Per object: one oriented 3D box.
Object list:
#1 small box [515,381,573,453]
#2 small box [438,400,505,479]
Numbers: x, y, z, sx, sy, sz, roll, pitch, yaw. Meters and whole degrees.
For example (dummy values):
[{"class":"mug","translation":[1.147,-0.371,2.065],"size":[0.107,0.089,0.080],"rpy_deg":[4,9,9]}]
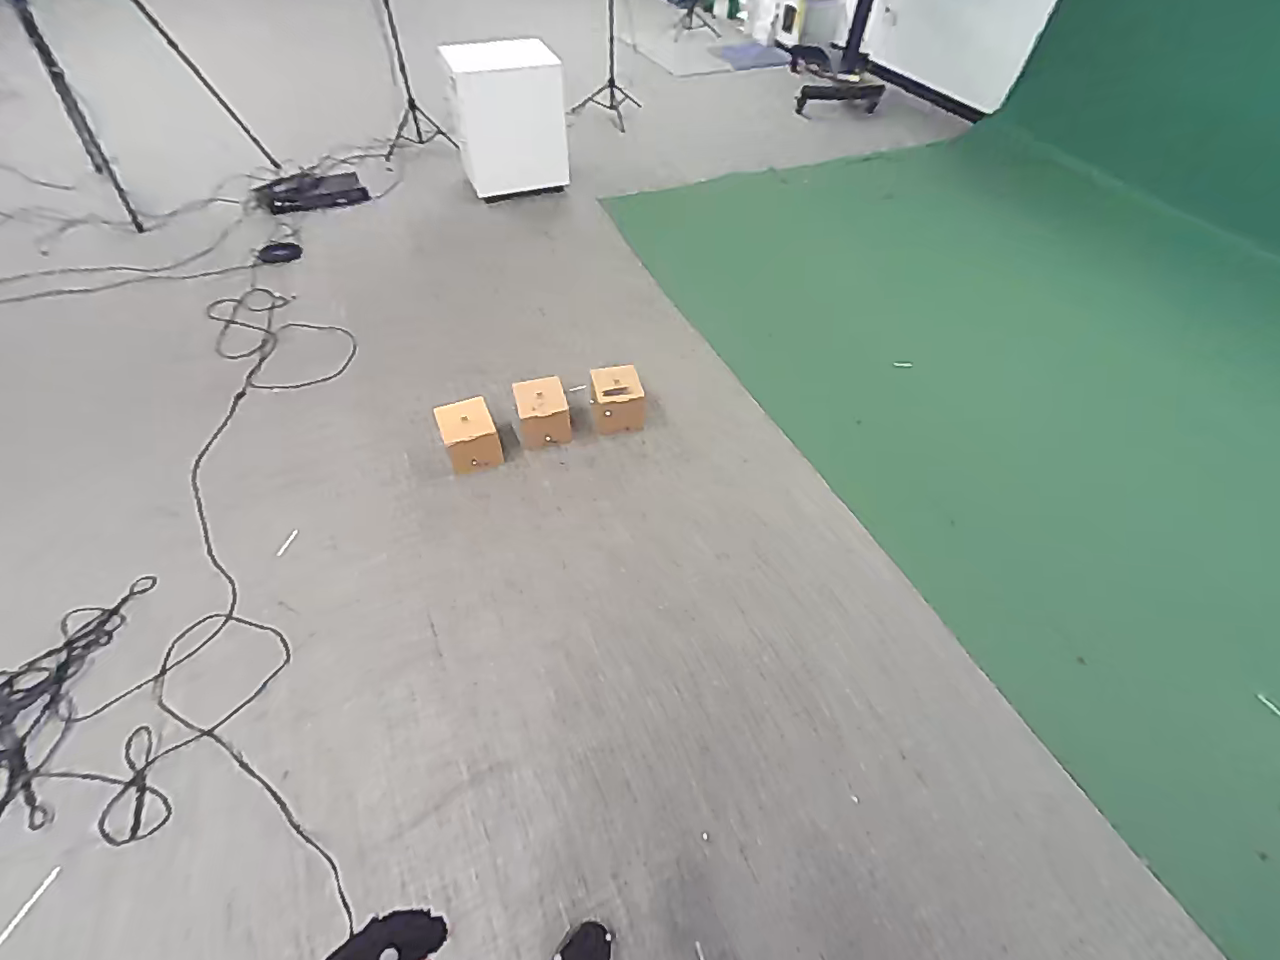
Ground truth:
[{"class":"small box","translation":[-0.337,-0.221,1.902],"size":[0.168,0.176,0.179],"rpy_deg":[-12,55,-12]},{"class":"small box","translation":[-0.567,-0.135,1.825],"size":[0.168,0.176,0.179],"rpy_deg":[-19,56,-16]}]
